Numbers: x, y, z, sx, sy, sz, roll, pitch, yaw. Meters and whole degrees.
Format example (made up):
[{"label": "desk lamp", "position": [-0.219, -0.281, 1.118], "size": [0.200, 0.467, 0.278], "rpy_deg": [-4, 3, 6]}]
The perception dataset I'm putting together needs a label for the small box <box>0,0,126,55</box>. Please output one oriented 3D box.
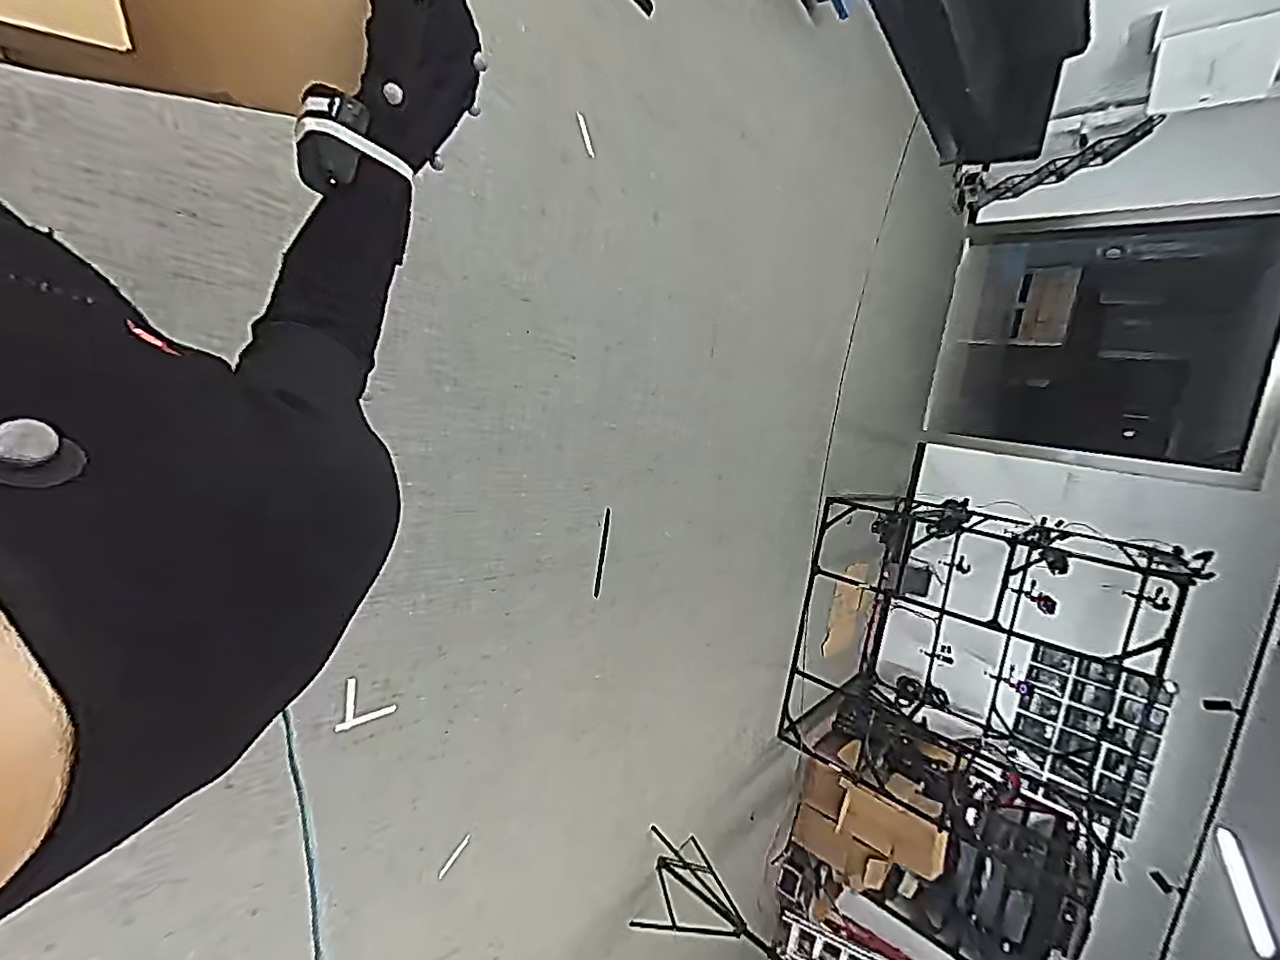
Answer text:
[{"label": "small box", "position": [-0.414, -0.330, 0.254], "size": [0.179, 0.176, 0.168], "rpy_deg": [-38, 142, -55]}]
